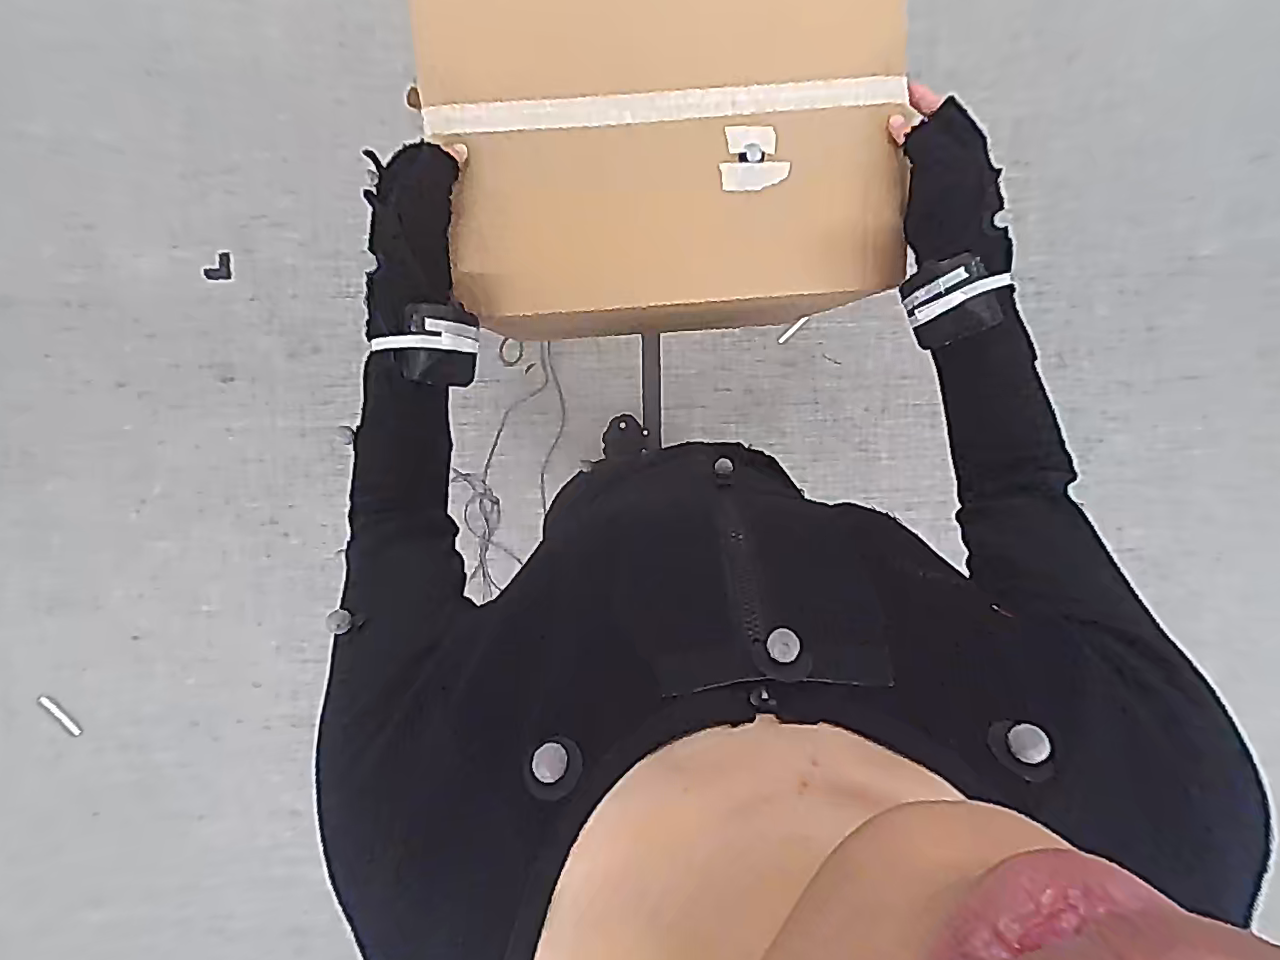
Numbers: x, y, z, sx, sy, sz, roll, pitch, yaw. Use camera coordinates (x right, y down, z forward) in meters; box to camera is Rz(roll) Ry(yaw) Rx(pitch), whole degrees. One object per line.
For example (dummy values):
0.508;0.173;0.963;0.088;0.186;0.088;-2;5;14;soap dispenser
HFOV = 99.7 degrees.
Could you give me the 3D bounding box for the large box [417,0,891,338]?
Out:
0.012;-0.347;0.614;0.408;0.320;0.320;-5;101;-3;large box
